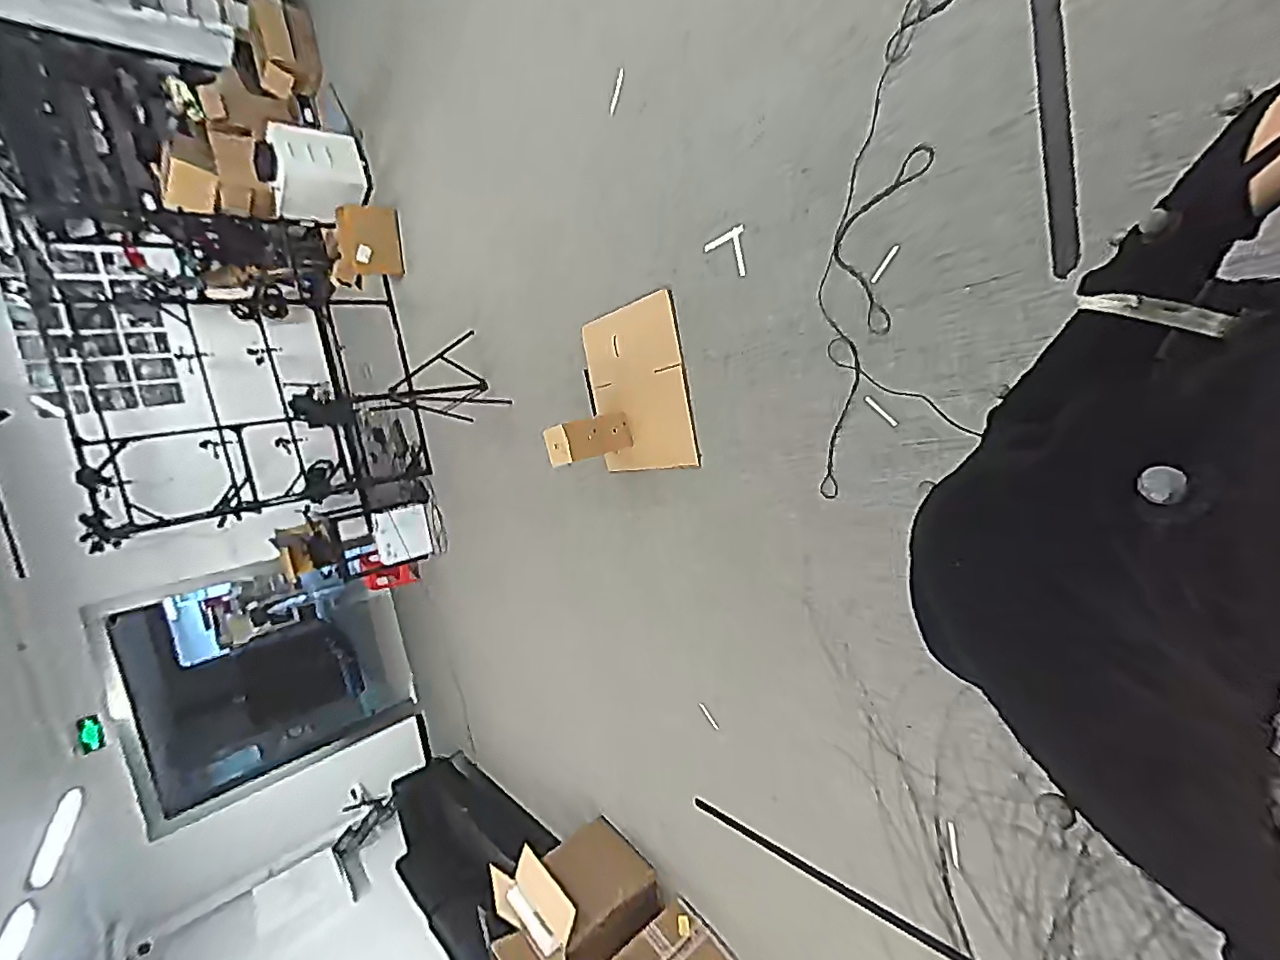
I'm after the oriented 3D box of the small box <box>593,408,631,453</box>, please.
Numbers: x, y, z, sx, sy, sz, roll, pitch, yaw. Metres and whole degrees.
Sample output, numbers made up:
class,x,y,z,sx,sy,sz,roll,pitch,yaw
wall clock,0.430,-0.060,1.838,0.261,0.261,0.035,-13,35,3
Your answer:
class,x,y,z,sx,sy,sz,roll,pitch,yaw
small box,-0.158,-0.218,2.419,0.179,0.176,0.168,-14,92,51

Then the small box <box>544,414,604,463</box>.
class,x,y,z,sx,sy,sz,roll,pitch,yaw
small box,-0.282,-0.178,2.319,0.179,0.176,0.168,-11,95,52
